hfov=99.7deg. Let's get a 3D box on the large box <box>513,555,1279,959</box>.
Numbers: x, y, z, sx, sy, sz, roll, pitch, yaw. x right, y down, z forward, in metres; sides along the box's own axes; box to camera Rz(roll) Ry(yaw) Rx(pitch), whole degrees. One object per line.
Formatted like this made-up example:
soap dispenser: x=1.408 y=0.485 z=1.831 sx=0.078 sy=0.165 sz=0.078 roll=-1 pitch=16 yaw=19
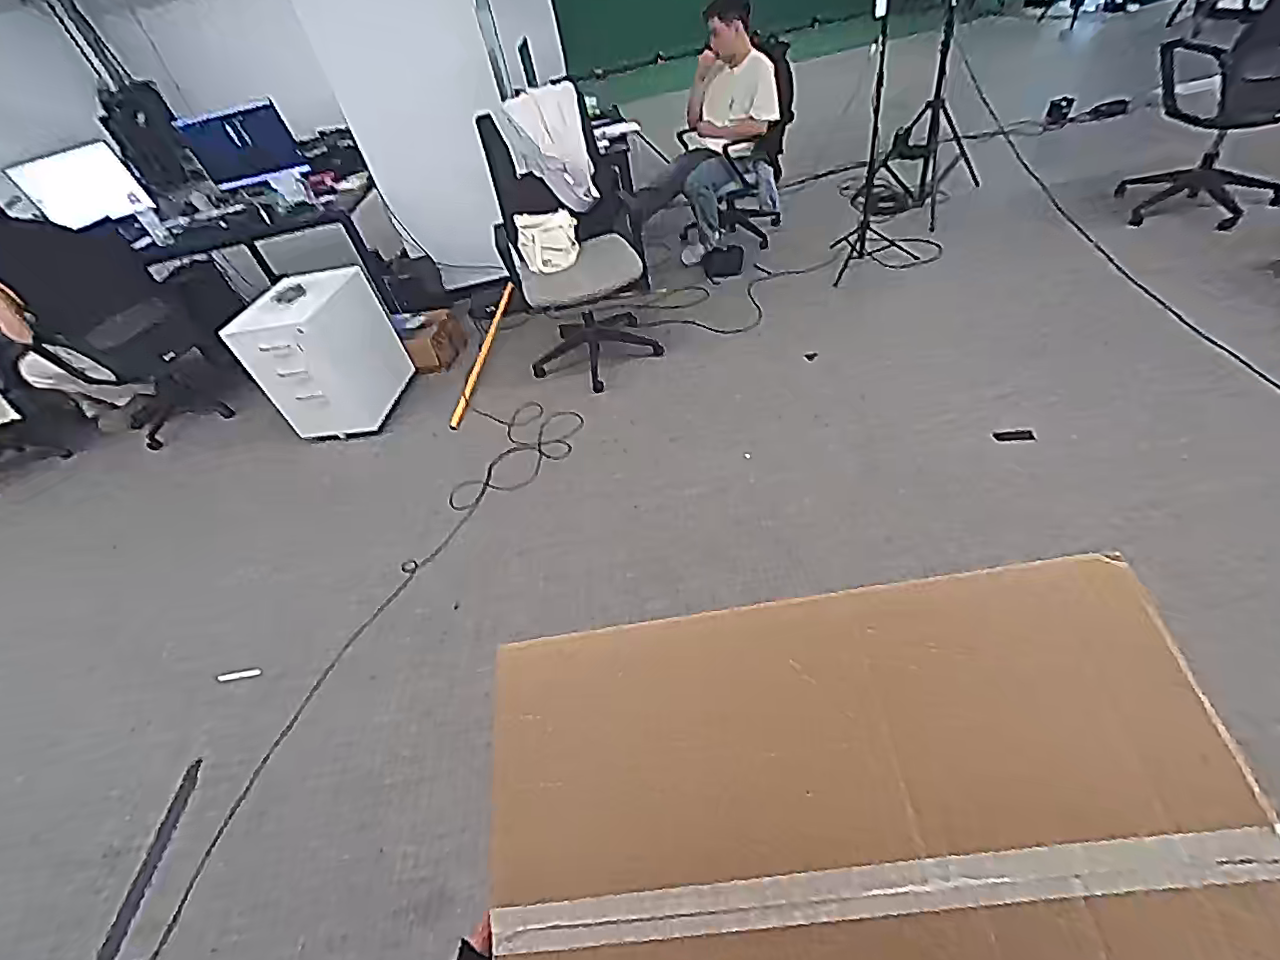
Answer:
large box: x=0.146 y=0.285 z=0.419 sx=0.408 sy=0.320 sz=0.320 roll=-10 pitch=62 yaw=6
